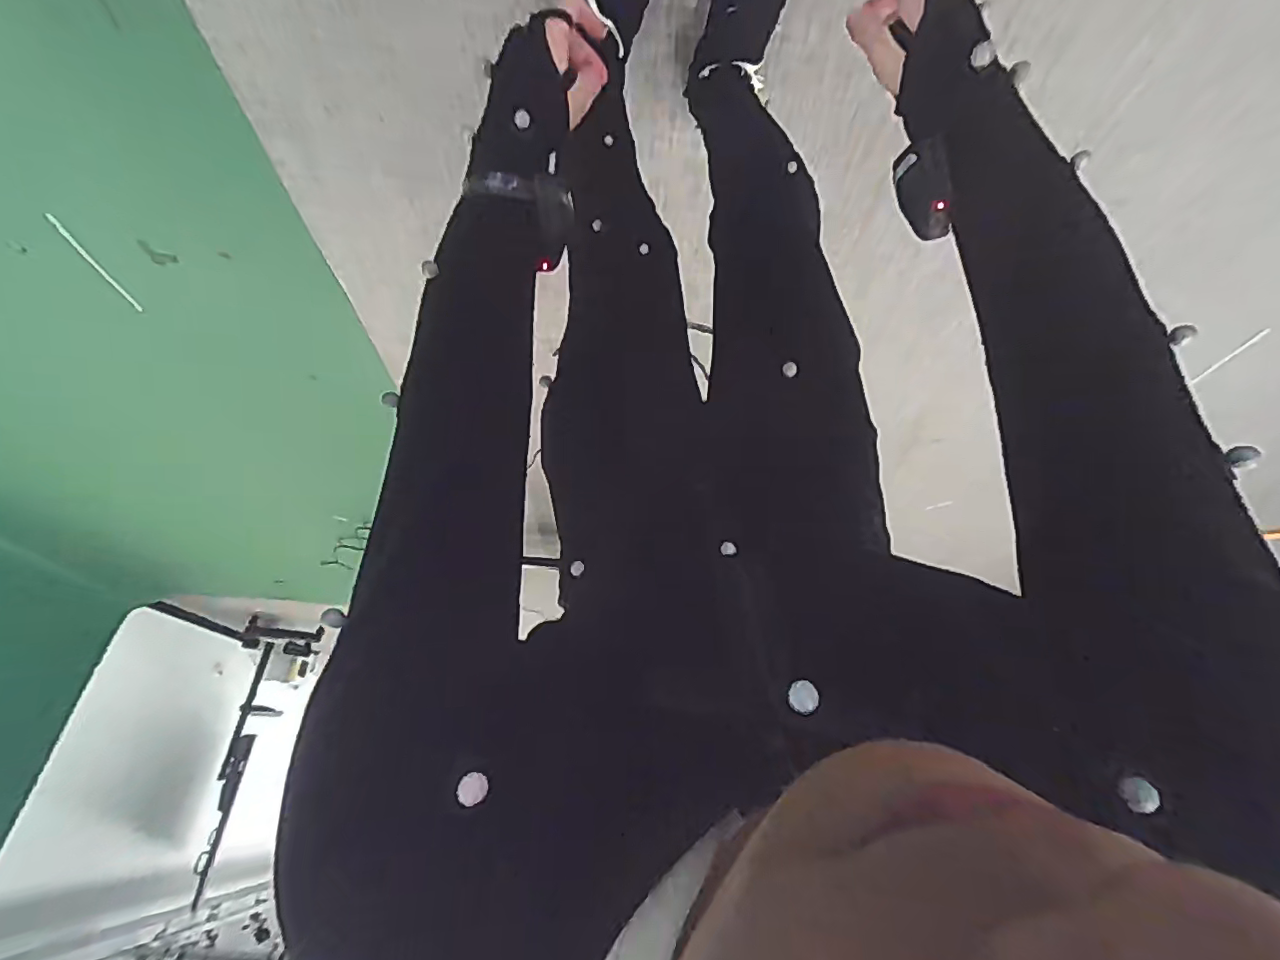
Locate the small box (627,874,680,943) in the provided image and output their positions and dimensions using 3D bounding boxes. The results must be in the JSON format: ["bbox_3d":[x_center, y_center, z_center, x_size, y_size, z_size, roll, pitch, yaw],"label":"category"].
[{"bbox_3d":[0.048,1.538,1.949,0.179,0.176,0.168,4,151,-3],"label":"small box"}]
